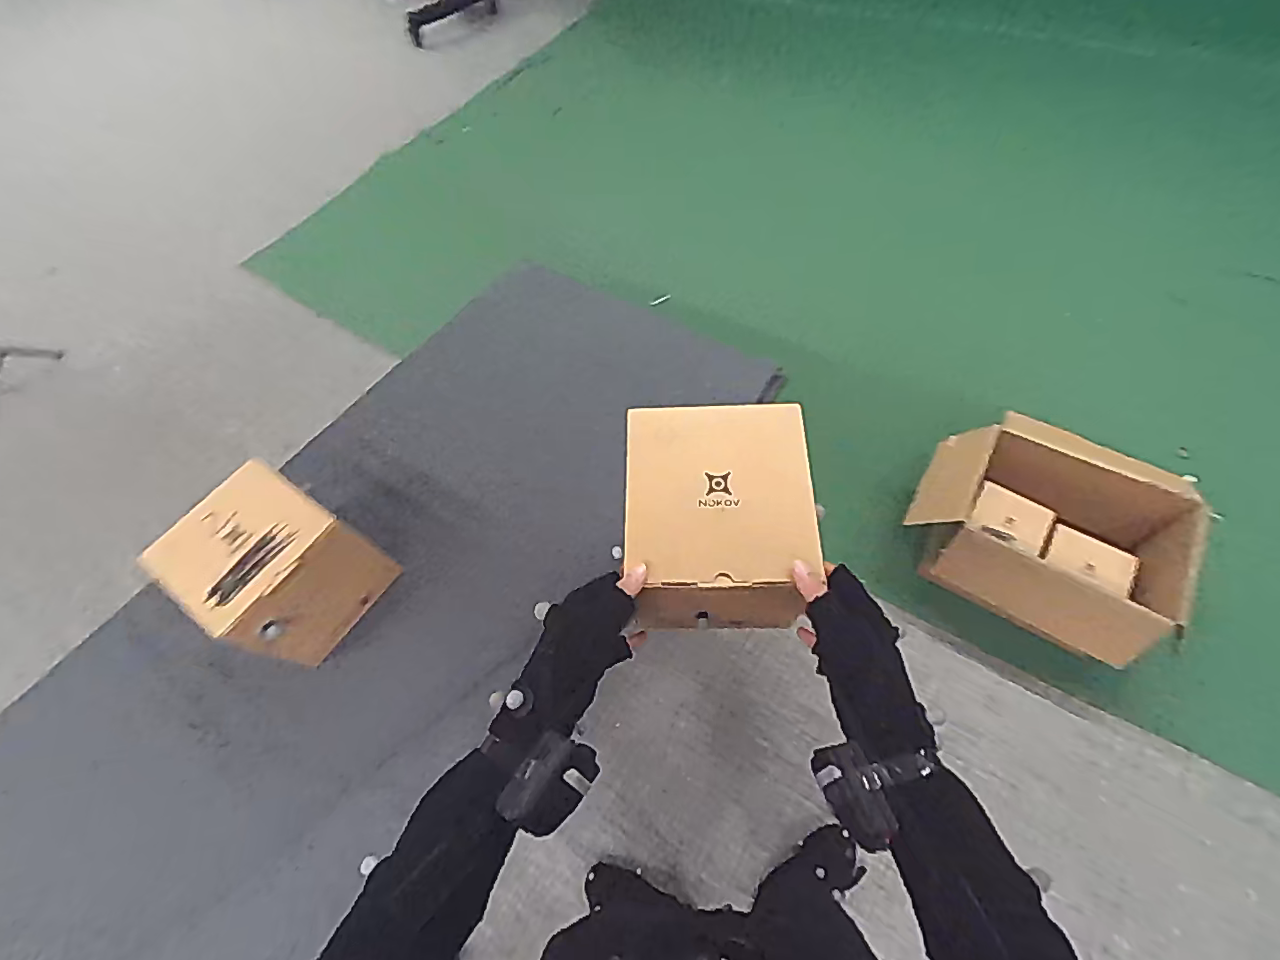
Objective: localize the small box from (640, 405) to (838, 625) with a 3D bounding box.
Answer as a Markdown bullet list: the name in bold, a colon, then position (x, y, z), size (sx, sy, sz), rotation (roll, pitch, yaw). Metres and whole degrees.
- **small box**: position (0.088, 0.041, 0.554), size (0.168, 0.176, 0.179), rotation (-1, 64, 4)
